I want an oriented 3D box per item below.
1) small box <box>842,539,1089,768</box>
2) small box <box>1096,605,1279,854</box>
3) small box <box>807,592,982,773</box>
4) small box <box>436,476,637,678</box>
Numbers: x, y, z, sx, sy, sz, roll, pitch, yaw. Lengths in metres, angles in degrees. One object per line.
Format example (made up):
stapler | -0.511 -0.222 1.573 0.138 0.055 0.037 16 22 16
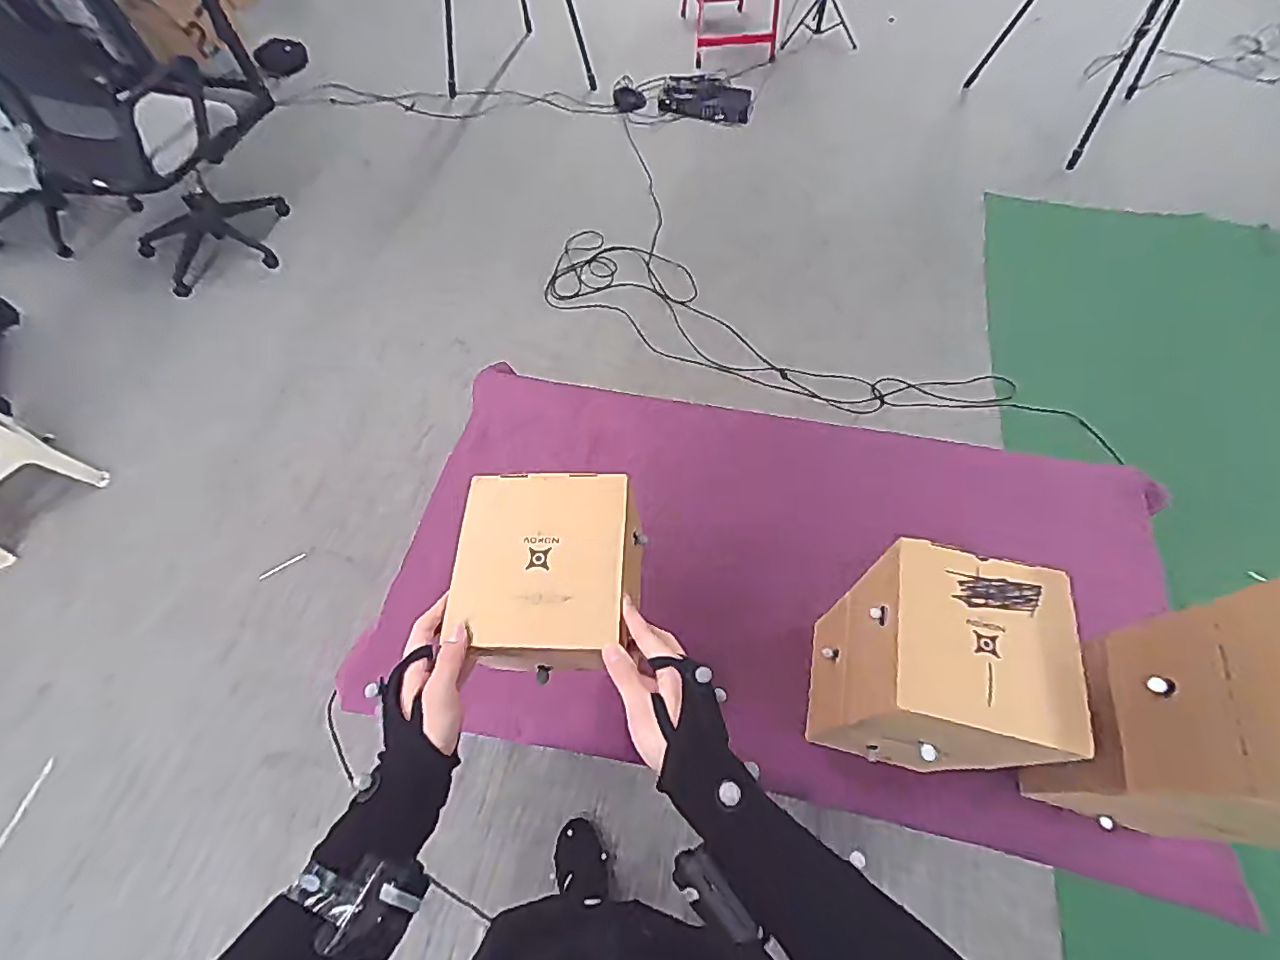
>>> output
small box | 0.328 0.191 0.582 0.168 0.176 0.179 12 61 9
small box | 0.599 0.251 0.536 0.168 0.176 0.179 13 61 10
small box | 0.329 0.276 0.722 0.168 0.176 0.179 12 60 8
small box | -0.094 0.110 0.591 0.168 0.176 0.179 0 63 6
